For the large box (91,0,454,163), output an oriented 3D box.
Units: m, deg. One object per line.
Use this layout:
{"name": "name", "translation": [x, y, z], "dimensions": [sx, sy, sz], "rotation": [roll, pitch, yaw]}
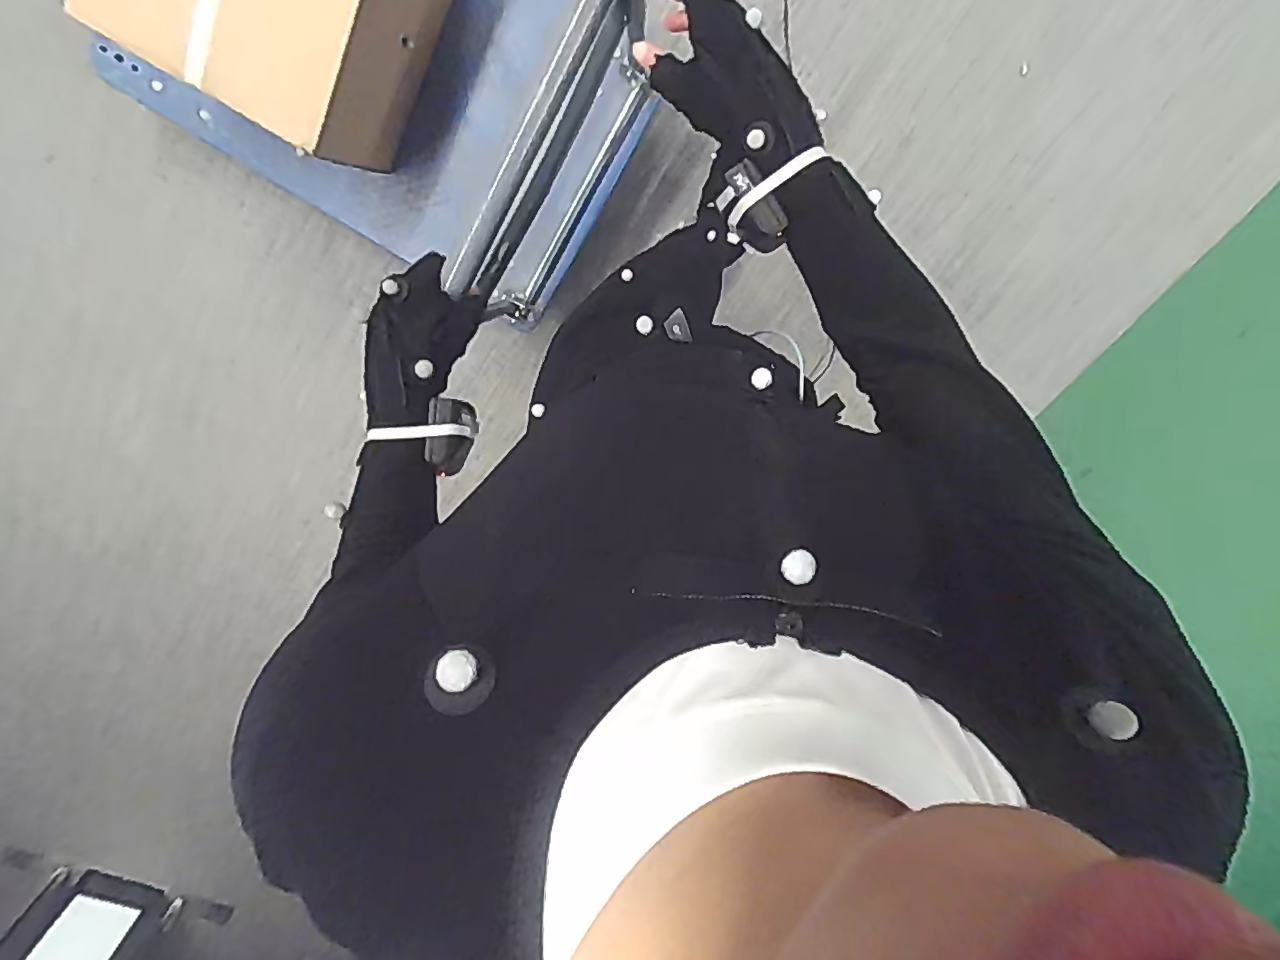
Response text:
{"name": "large box", "translation": [-0.485, -0.759, 0.795], "dimensions": [0.320, 0.320, 0.408], "rotation": [27, 111, -14]}
